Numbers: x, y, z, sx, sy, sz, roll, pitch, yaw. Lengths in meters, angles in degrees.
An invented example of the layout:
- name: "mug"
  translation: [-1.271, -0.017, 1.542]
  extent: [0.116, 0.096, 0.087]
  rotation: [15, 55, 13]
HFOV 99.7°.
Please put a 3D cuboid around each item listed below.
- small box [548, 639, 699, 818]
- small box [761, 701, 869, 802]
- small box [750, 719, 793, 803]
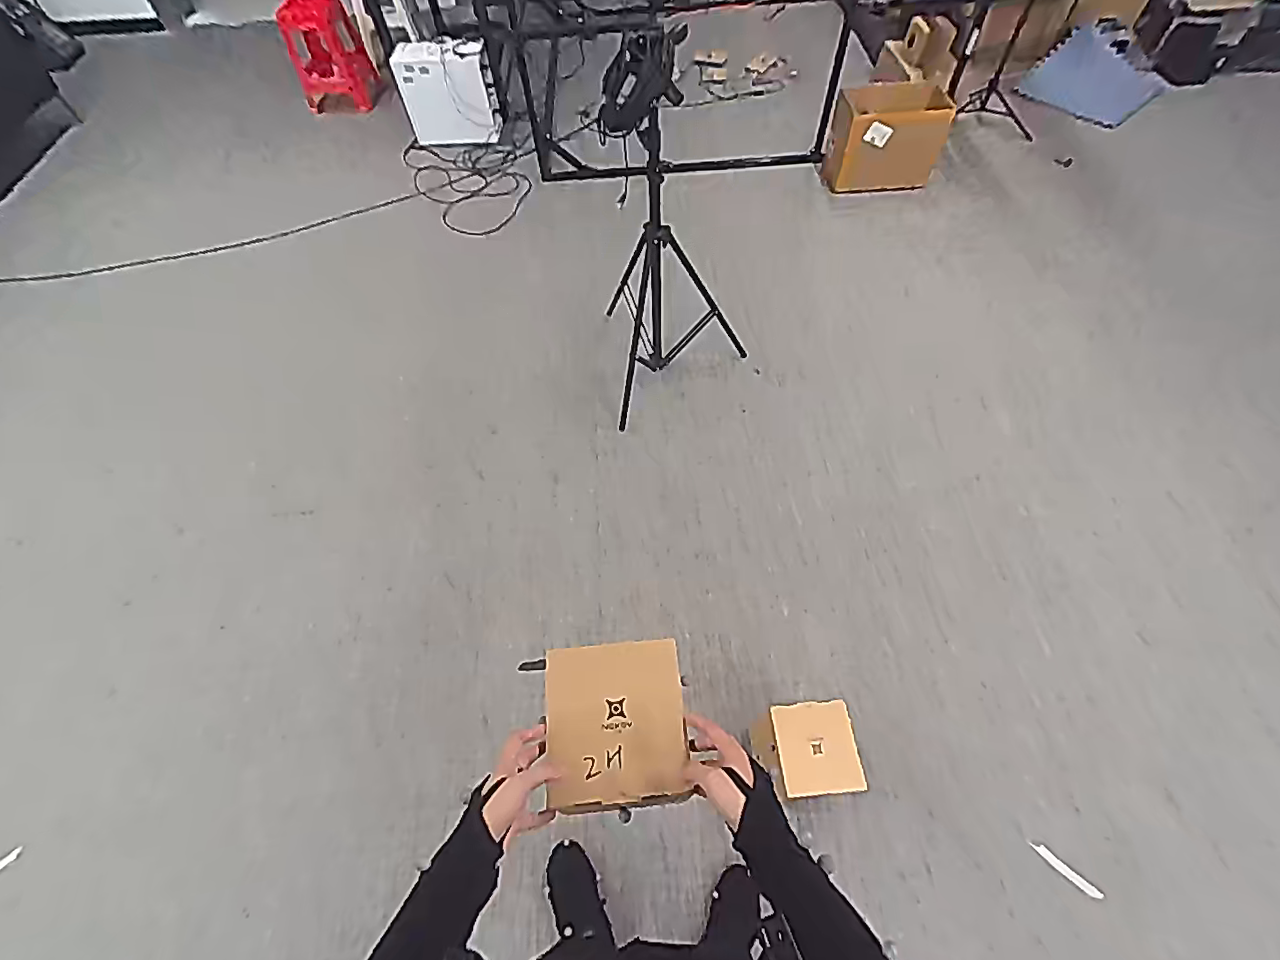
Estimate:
- name: "small box"
  translation: [-0.023, 0.320, 0.689]
  extent: [0.168, 0.176, 0.179]
  rotation: [-5, 57, -2]
- name: "small box"
  translation: [0.372, 0.596, 1.182]
  extent: [0.168, 0.176, 0.179]
  rotation: [-5, 58, -1]
- name: "small box"
  translation: [0.374, 0.681, 1.320]
  extent: [0.168, 0.176, 0.179]
  rotation: [-6, 58, -1]
